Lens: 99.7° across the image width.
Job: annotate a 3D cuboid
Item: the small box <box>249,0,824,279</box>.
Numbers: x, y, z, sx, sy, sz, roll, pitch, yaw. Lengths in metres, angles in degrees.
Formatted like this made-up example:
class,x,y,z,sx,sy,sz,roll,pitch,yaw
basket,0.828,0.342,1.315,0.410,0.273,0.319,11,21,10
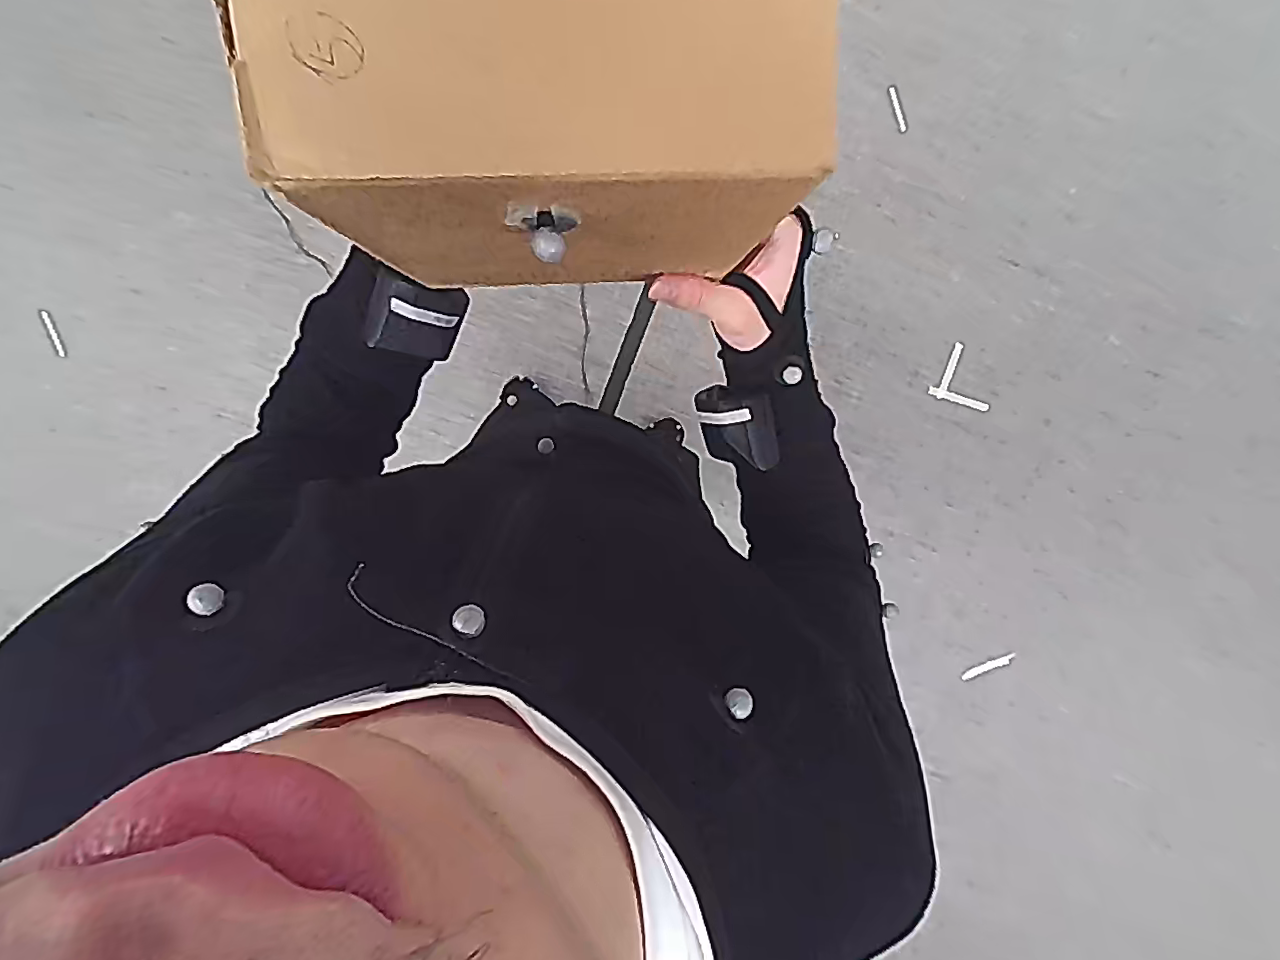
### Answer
class,x,y,z,sx,sy,sz,roll,pitch,yaw
small box,-0.036,-0.190,0.237,0.179,0.176,0.168,-4,100,-4
